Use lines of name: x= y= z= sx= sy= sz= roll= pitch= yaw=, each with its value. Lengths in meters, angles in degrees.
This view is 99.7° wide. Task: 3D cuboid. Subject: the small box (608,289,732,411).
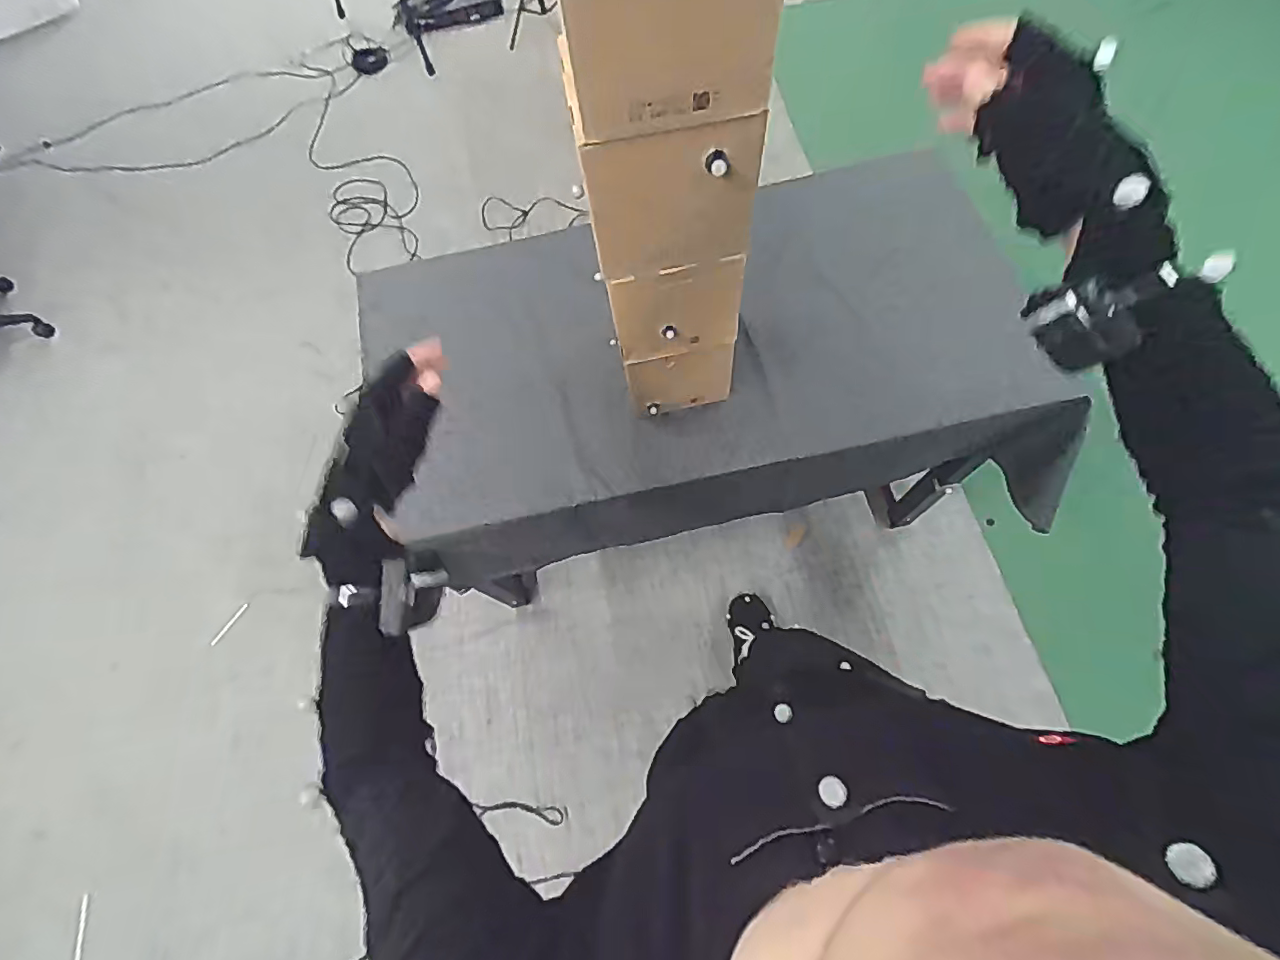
small box: x=0.051 y=-0.230 z=0.890 sx=0.168 sy=0.176 sz=0.179 roll=-12 pitch=66 yaw=1

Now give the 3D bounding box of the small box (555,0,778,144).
small box: x=0.012 y=-0.416 z=0.439 sx=0.168 sy=0.176 sz=0.179 roll=-9 pitch=67 yaw=2

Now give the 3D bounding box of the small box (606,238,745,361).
small box: x=0.036 y=-0.292 z=0.741 sx=0.168 sy=0.176 sz=0.179 roll=-12 pitch=67 yaw=1

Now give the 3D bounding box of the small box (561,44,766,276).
small box: x=0.023 y=-0.353 z=0.589 sx=0.179 sy=0.176 sz=0.168 roll=-11 pitch=67 yaw=1
